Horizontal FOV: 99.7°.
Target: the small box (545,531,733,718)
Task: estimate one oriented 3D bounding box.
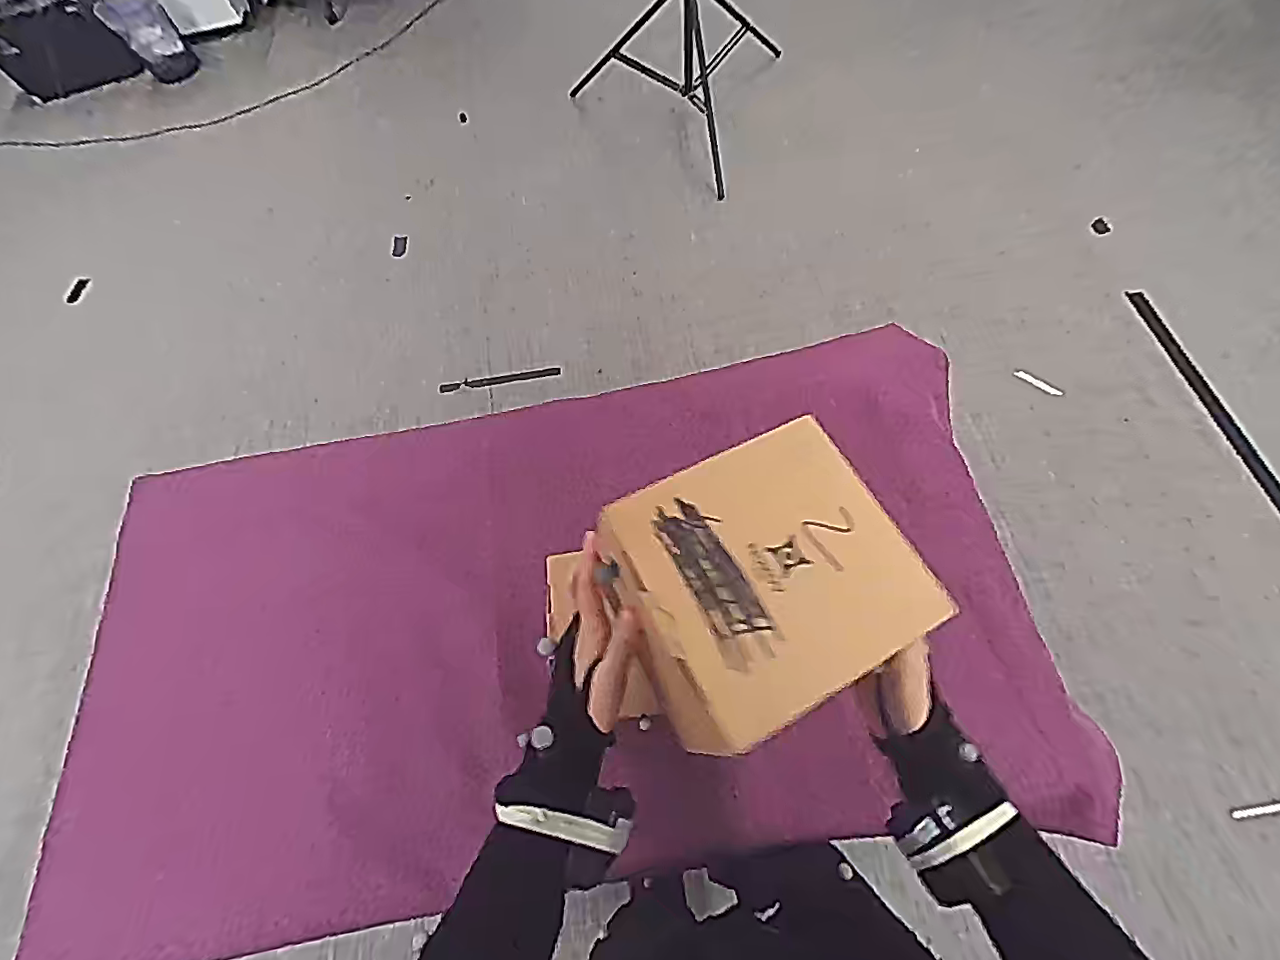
[{"bbox_3d":[0.001,0.171,0.610,0.179,0.176,0.168,-8,67,1],"label":"small box"}]
